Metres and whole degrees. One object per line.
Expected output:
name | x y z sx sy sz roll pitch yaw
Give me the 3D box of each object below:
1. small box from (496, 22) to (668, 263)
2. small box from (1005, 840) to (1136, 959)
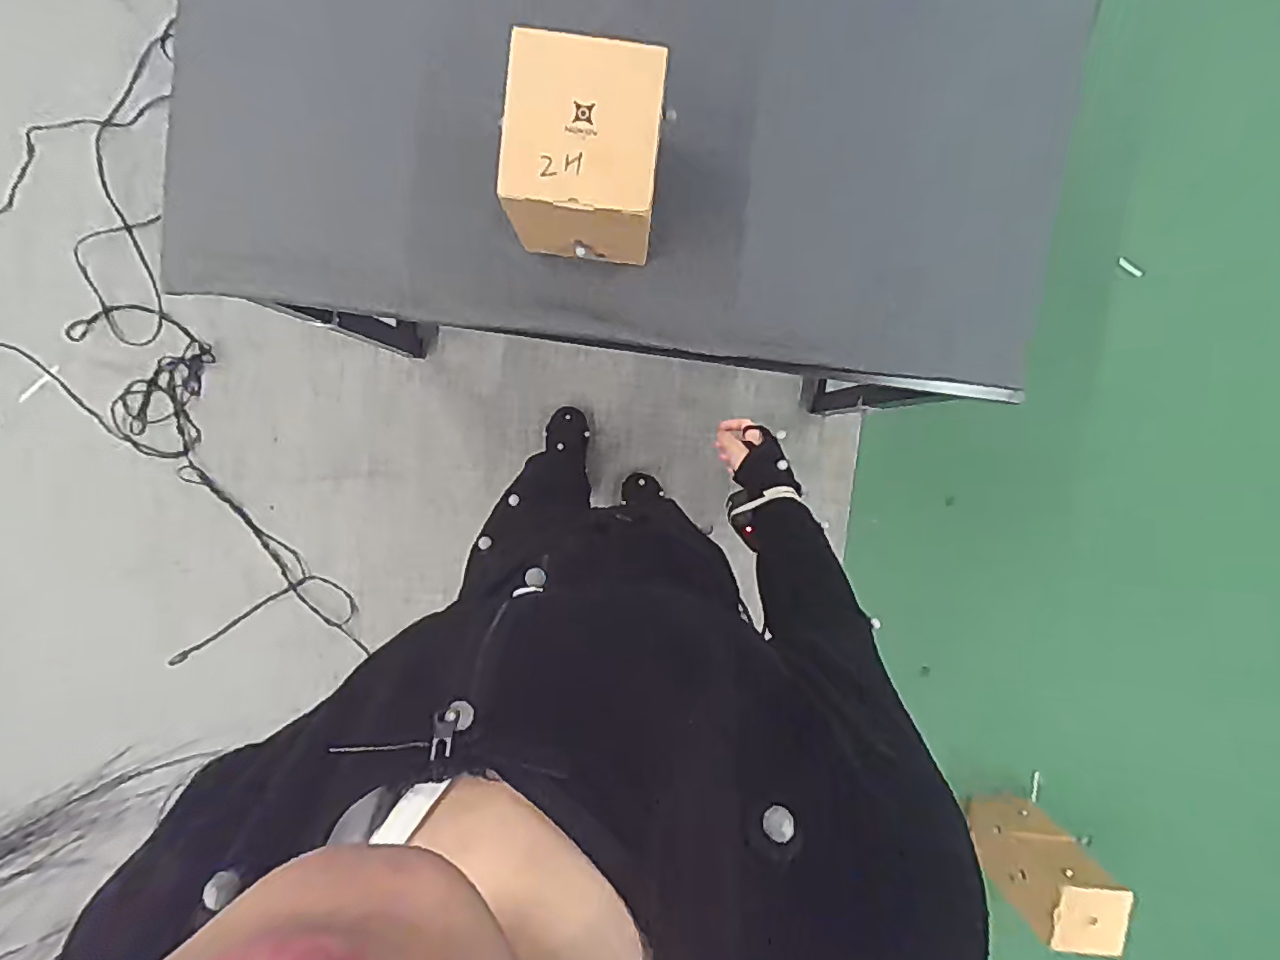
small box | -0.064 -0.383 0.645 0.168 0.176 0.179 6 93 -1
small box | 1.055 1.029 1.337 0.179 0.176 0.168 6 94 -2
